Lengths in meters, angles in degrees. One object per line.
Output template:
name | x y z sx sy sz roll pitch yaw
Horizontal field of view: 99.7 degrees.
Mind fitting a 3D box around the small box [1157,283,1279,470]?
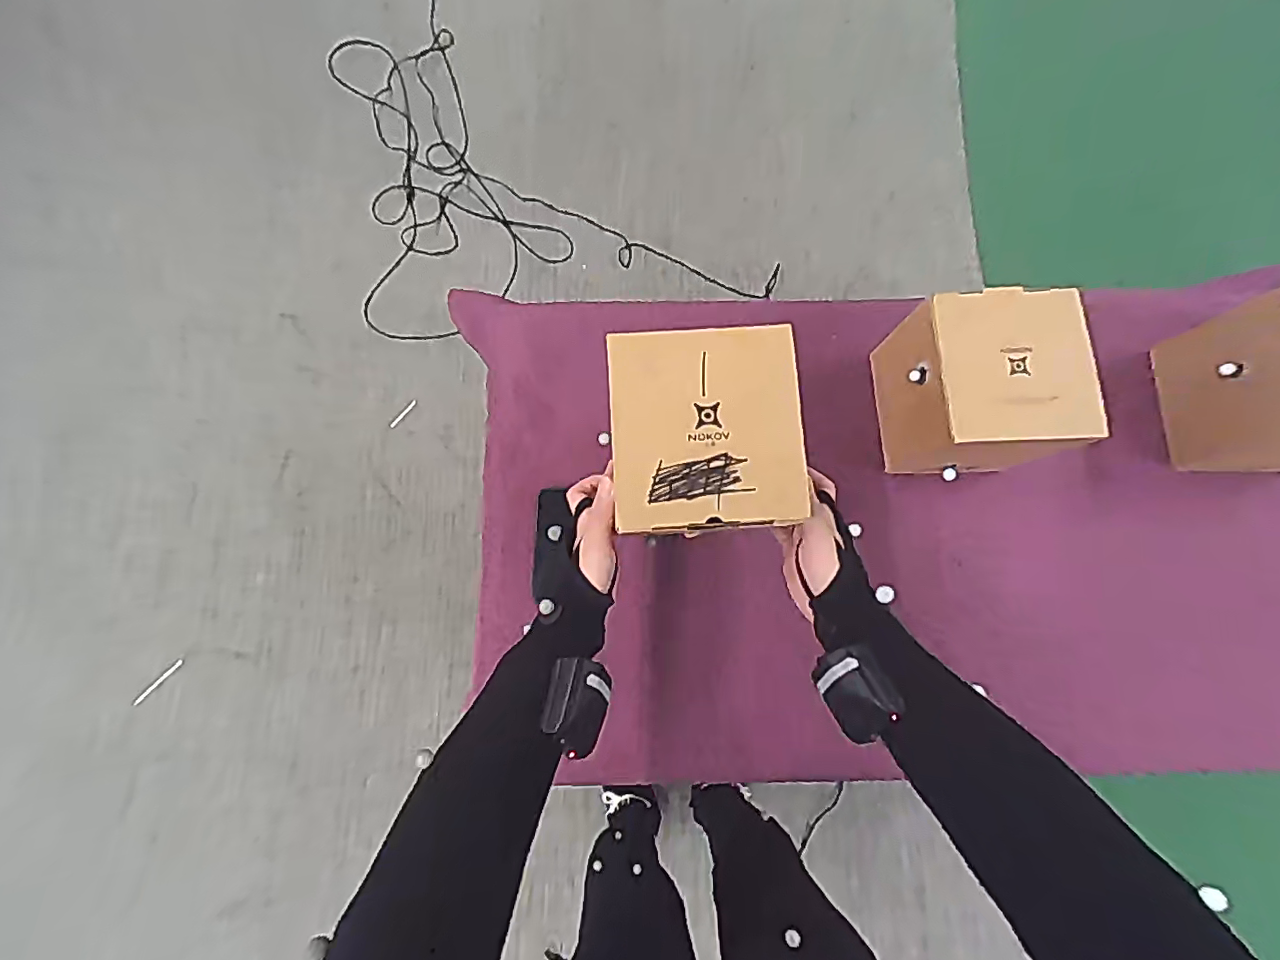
small box | 0.786 -0.119 0.653 0.168 0.176 0.179 0 77 1

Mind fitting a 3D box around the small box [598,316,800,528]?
small box | 0.049 -0.043 0.538 0.168 0.176 0.179 -3 82 -1

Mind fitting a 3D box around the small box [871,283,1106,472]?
small box | 0.398 -0.114 0.653 0.168 0.176 0.179 -2 78 0
